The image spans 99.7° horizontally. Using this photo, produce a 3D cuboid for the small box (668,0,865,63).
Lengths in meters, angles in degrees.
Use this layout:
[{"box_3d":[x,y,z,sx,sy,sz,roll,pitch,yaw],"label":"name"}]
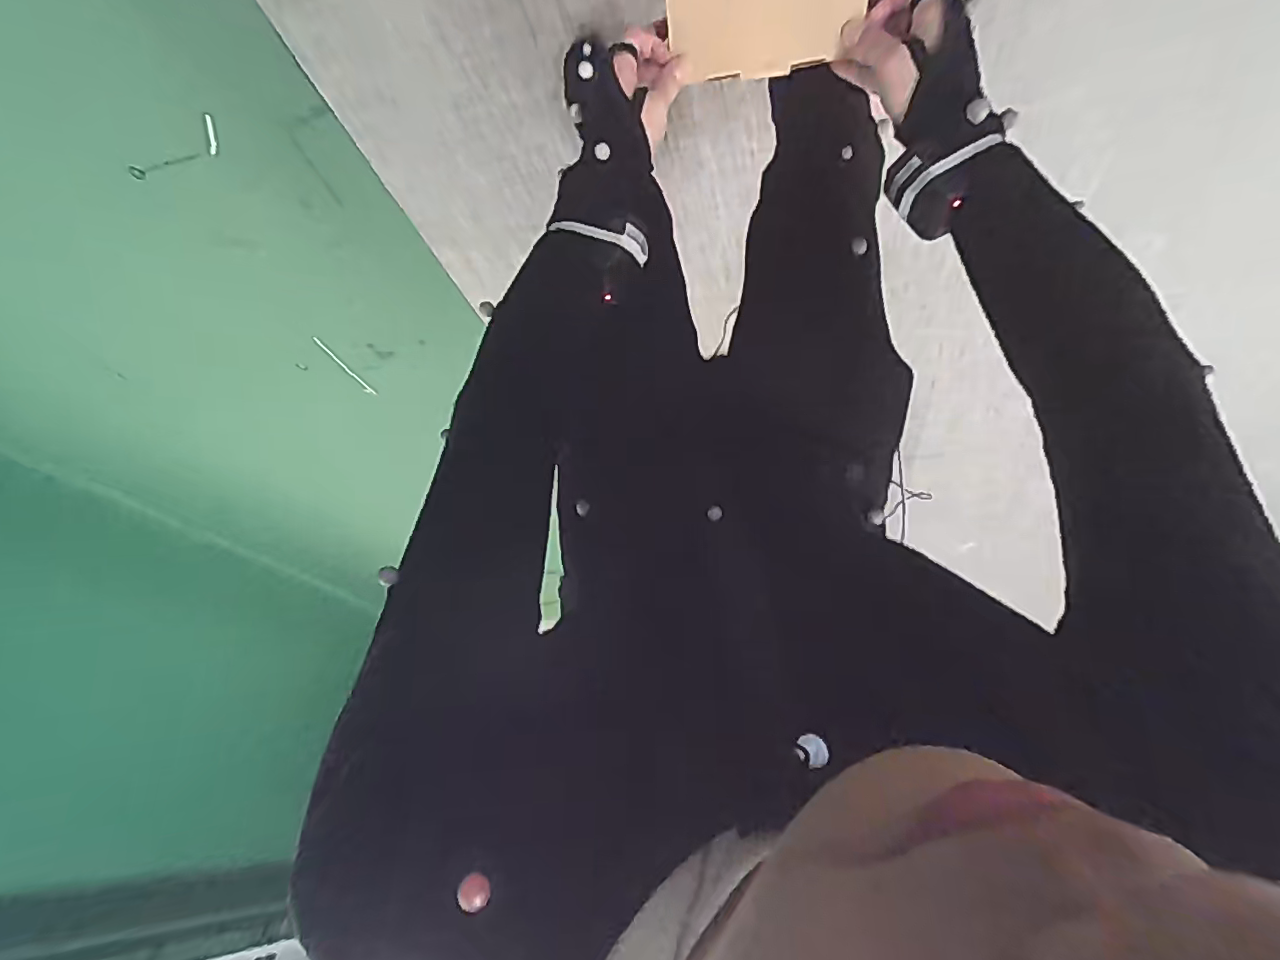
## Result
[{"box_3d":[0.109,-0.497,0.472,0.168,0.176,0.179,-1,134,11],"label":"small box"}]
